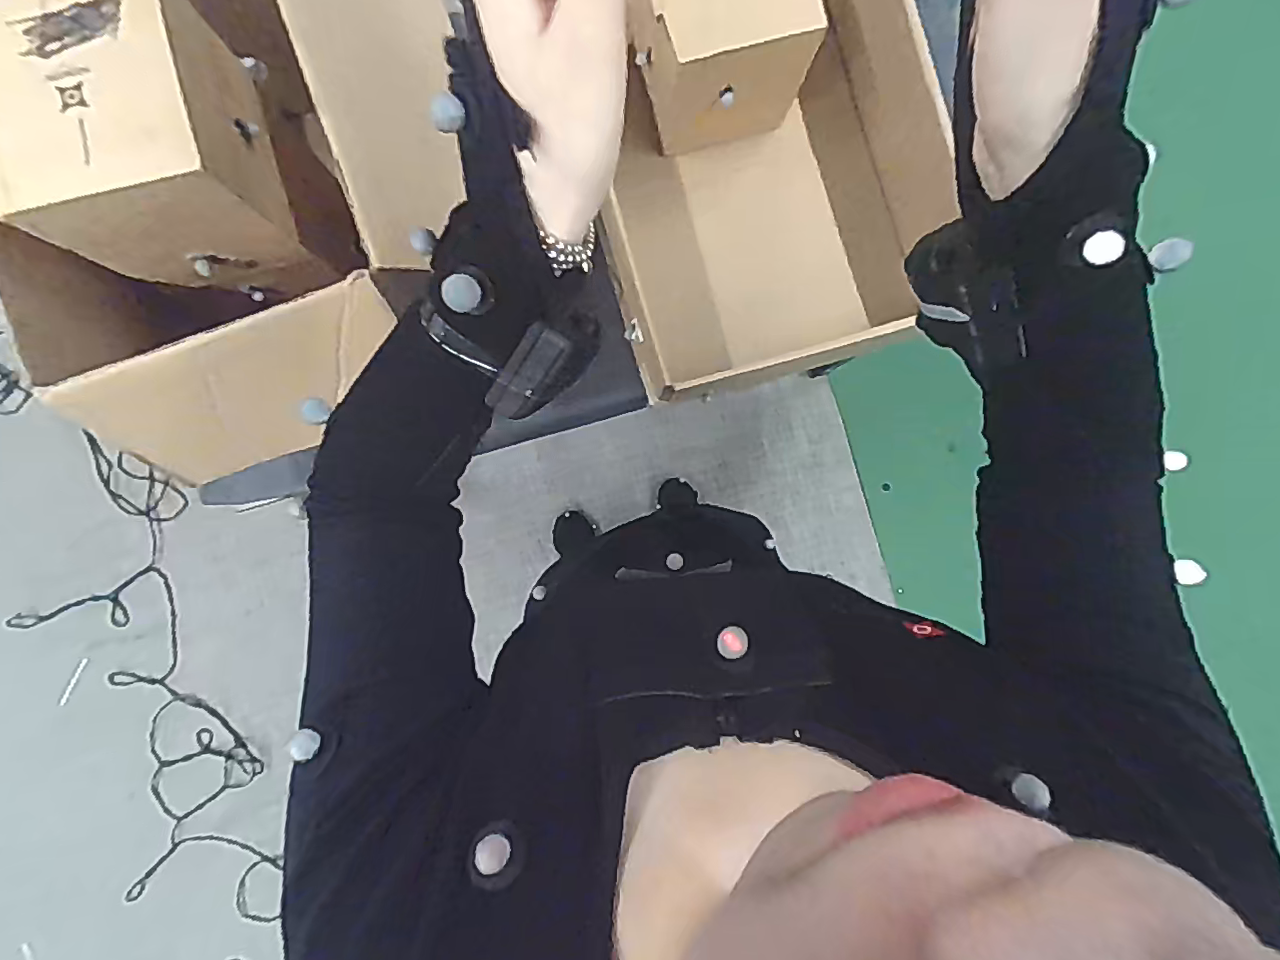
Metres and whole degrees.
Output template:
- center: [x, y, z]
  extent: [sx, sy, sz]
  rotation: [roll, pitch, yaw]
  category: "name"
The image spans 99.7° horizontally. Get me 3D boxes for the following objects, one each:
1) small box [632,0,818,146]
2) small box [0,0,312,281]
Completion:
- center: [0.090, -0.552, 0.666]
  extent: [0.179, 0.176, 0.168]
  rotation: [-16, 92, -1]
  category: "small box"
- center: [-0.446, -0.312, 0.501]
  extent: [0.168, 0.176, 0.179]
  rotation: [-15, 92, -3]
  category: "small box"
